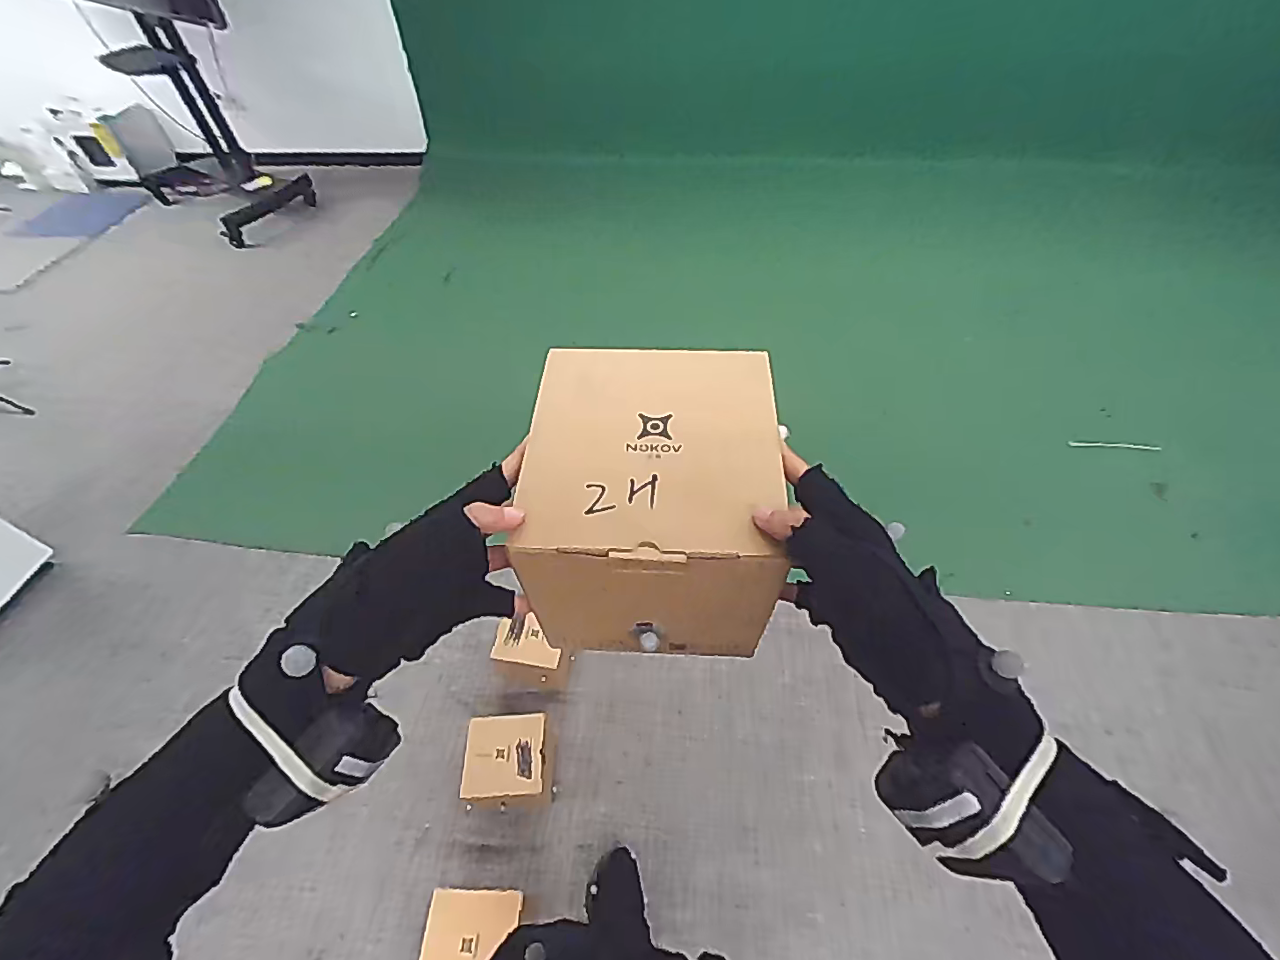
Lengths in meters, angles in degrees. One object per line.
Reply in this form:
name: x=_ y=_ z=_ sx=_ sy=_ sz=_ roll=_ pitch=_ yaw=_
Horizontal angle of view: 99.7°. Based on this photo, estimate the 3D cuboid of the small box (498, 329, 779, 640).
small box: x=0.005 y=0.006 z=0.421 sx=0.168 sy=0.176 sz=0.179 roll=2 pitch=53 yaw=4

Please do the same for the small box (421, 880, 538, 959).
small box: x=-0.308 y=0.892 z=1.055 sx=0.179 sy=0.176 sz=0.168 roll=0 pitch=51 yaw=1

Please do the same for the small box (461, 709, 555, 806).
small box: x=-0.296 y=0.647 z=1.257 sx=0.179 sy=0.176 sz=0.168 roll=-4 pitch=50 yaw=-1
